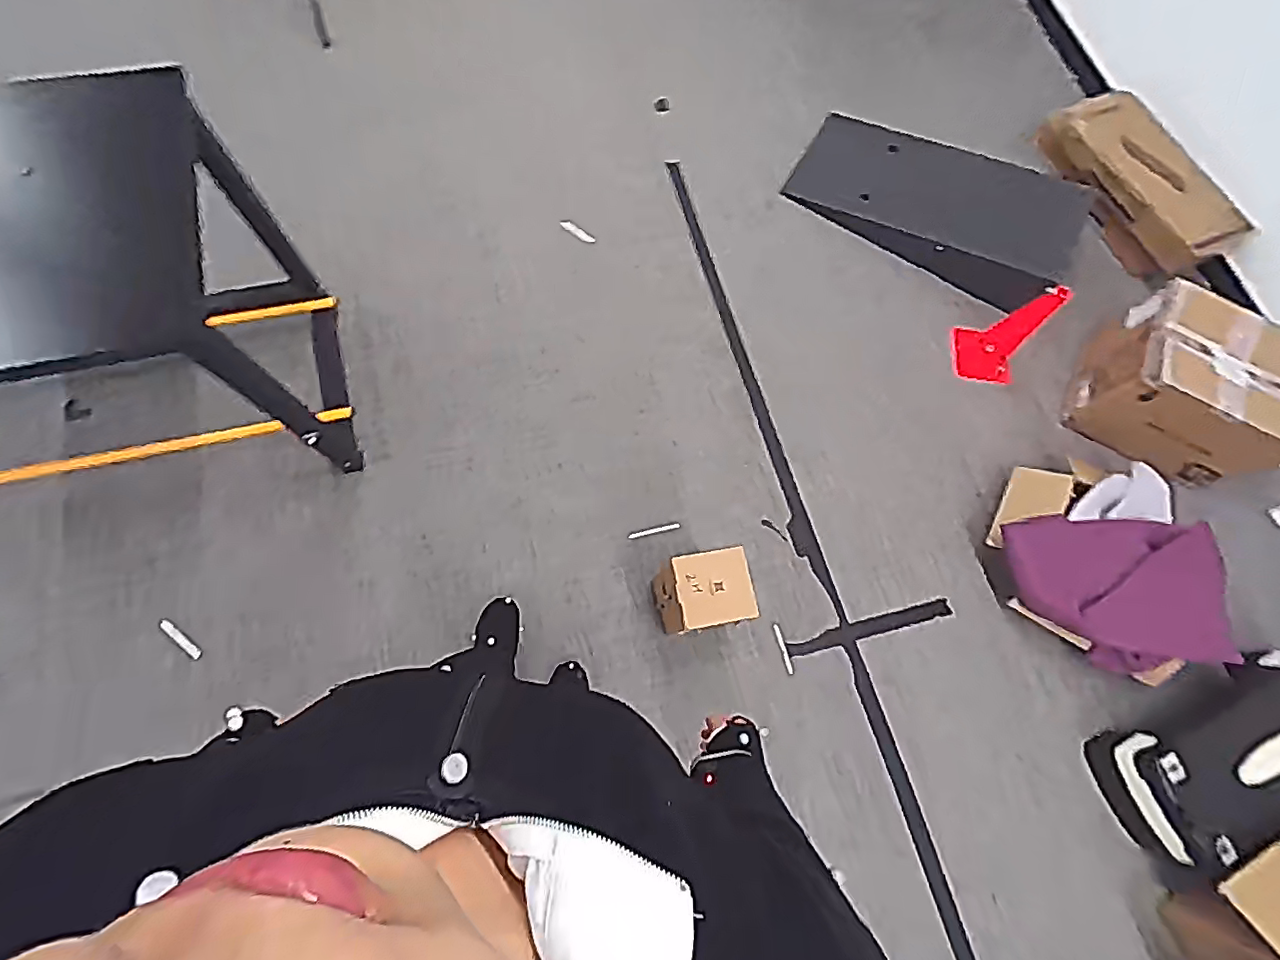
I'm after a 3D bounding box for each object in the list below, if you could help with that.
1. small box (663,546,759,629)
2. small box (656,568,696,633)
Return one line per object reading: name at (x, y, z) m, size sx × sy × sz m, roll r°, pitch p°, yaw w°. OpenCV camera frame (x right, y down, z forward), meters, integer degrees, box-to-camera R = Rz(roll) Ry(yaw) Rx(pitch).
small box at (0.165, 0.265, 1.310) m, size 0.179 × 0.176 × 0.168 m, roll -8°, pitch 73°, yaw -8°
small box at (0.146, 0.313, 1.468) m, size 0.179 × 0.176 × 0.168 m, roll -14°, pitch 75°, yaw -9°
